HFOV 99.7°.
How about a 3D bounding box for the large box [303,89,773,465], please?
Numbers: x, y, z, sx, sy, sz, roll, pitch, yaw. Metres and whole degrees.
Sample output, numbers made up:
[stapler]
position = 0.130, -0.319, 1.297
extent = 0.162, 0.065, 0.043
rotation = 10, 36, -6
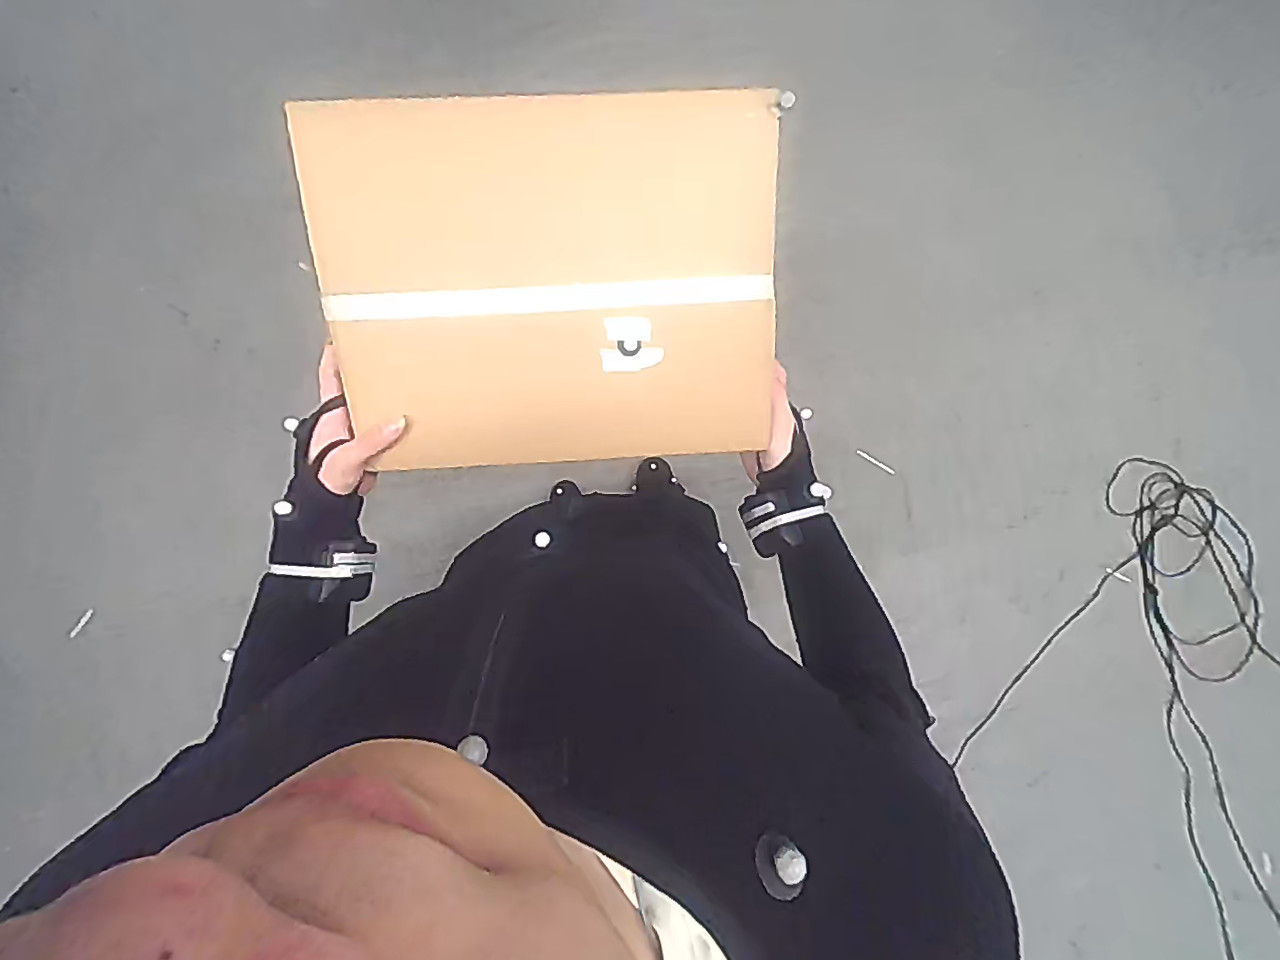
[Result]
[large box]
position = -0.086, -0.220, 0.641
extent = 0.408, 0.320, 0.320
rotation = -4, 109, -3
